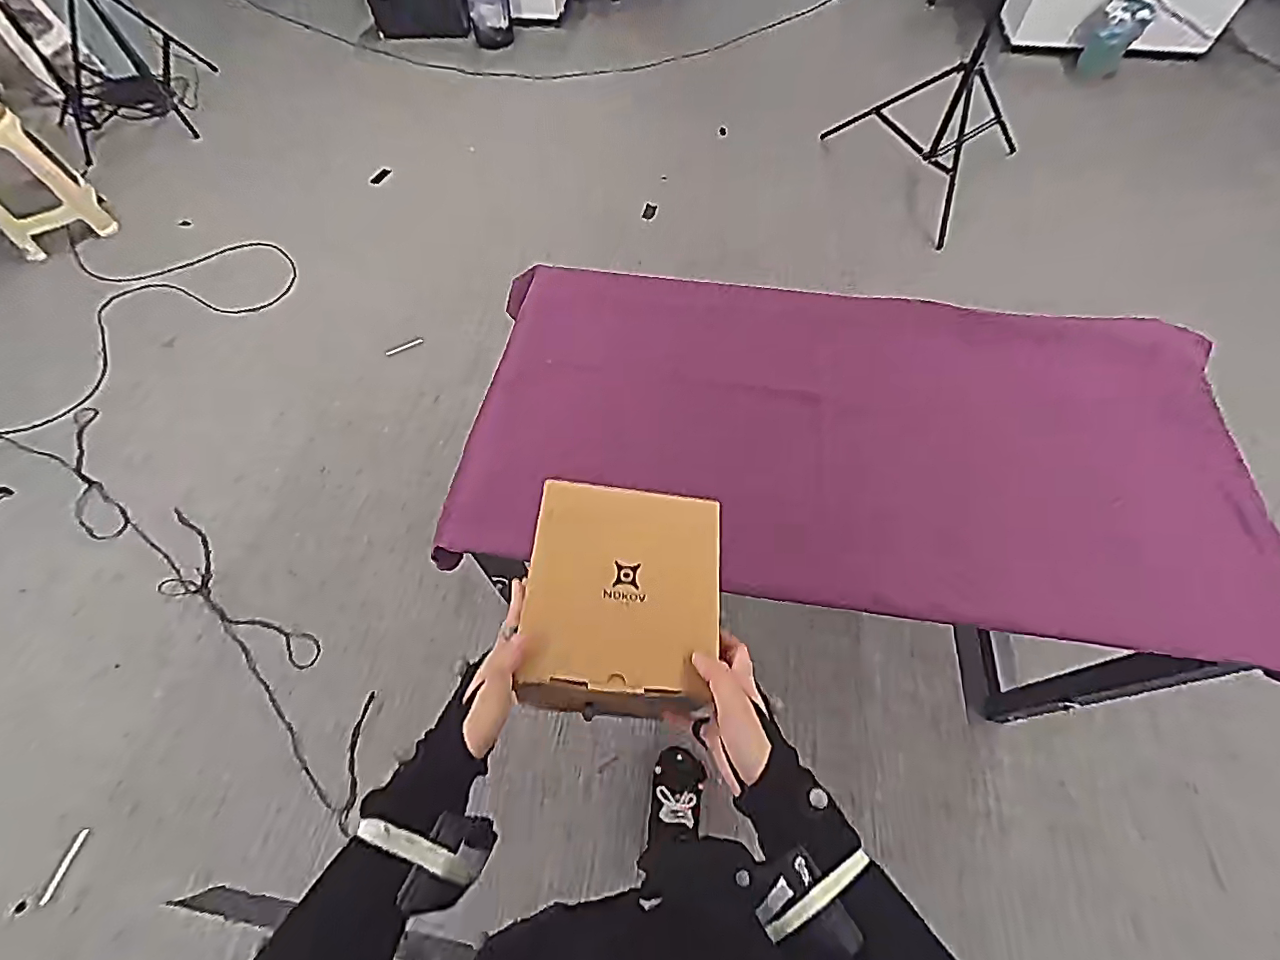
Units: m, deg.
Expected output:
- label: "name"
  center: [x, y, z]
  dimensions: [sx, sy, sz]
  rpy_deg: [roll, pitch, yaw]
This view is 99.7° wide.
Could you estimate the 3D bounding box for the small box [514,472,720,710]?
- label: "small box"
  center: [-0.024, 0.117, 0.531]
  dimensions: [0.168, 0.176, 0.179]
  rpy_deg: [8, 61, -5]
